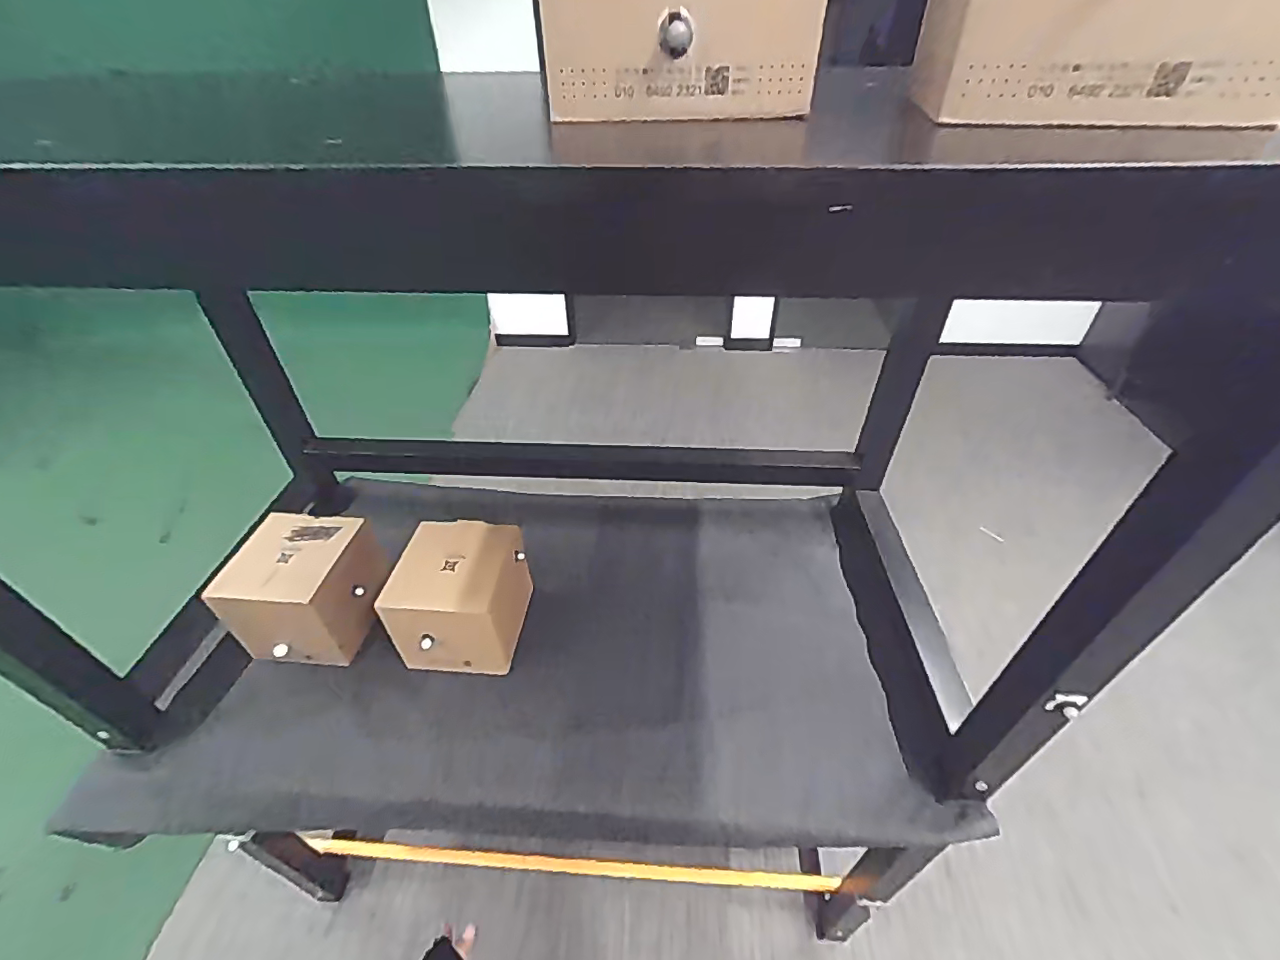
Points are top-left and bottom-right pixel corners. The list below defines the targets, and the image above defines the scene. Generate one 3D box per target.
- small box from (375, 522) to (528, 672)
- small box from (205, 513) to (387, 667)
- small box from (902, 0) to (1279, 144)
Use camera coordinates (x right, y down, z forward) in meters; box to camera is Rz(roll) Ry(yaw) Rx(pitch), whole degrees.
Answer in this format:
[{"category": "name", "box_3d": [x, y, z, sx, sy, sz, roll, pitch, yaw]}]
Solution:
[{"category": "small box", "box_3d": [-0.287, 0.189, 0.872, 0.168, 0.176, 0.179, 3, 40, 4]}, {"category": "small box", "box_3d": [-0.540, 0.178, 0.885, 0.168, 0.176, 0.179, 3, 41, 4]}, {"category": "small box", "box_3d": [0.266, -0.303, 0.310, 0.168, 0.176, 0.179, 9, 41, 12]}]
